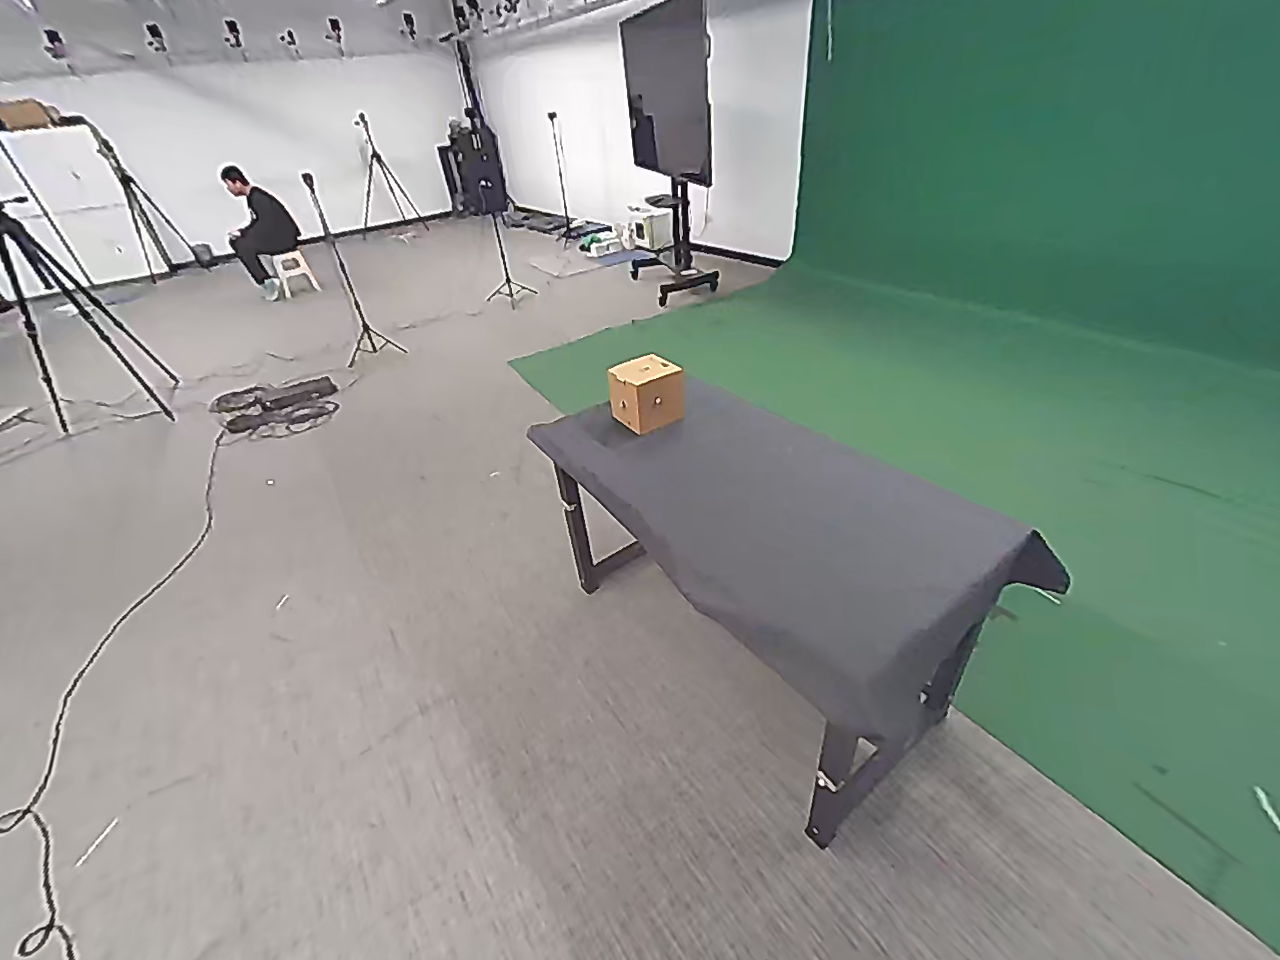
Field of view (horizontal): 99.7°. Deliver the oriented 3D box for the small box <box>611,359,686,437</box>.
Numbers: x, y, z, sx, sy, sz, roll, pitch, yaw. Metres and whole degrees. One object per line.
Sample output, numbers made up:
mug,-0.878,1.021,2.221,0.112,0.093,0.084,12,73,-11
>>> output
small box,0.031,-0.258,1.710,0.179,0.176,0.168,-25,40,-24
